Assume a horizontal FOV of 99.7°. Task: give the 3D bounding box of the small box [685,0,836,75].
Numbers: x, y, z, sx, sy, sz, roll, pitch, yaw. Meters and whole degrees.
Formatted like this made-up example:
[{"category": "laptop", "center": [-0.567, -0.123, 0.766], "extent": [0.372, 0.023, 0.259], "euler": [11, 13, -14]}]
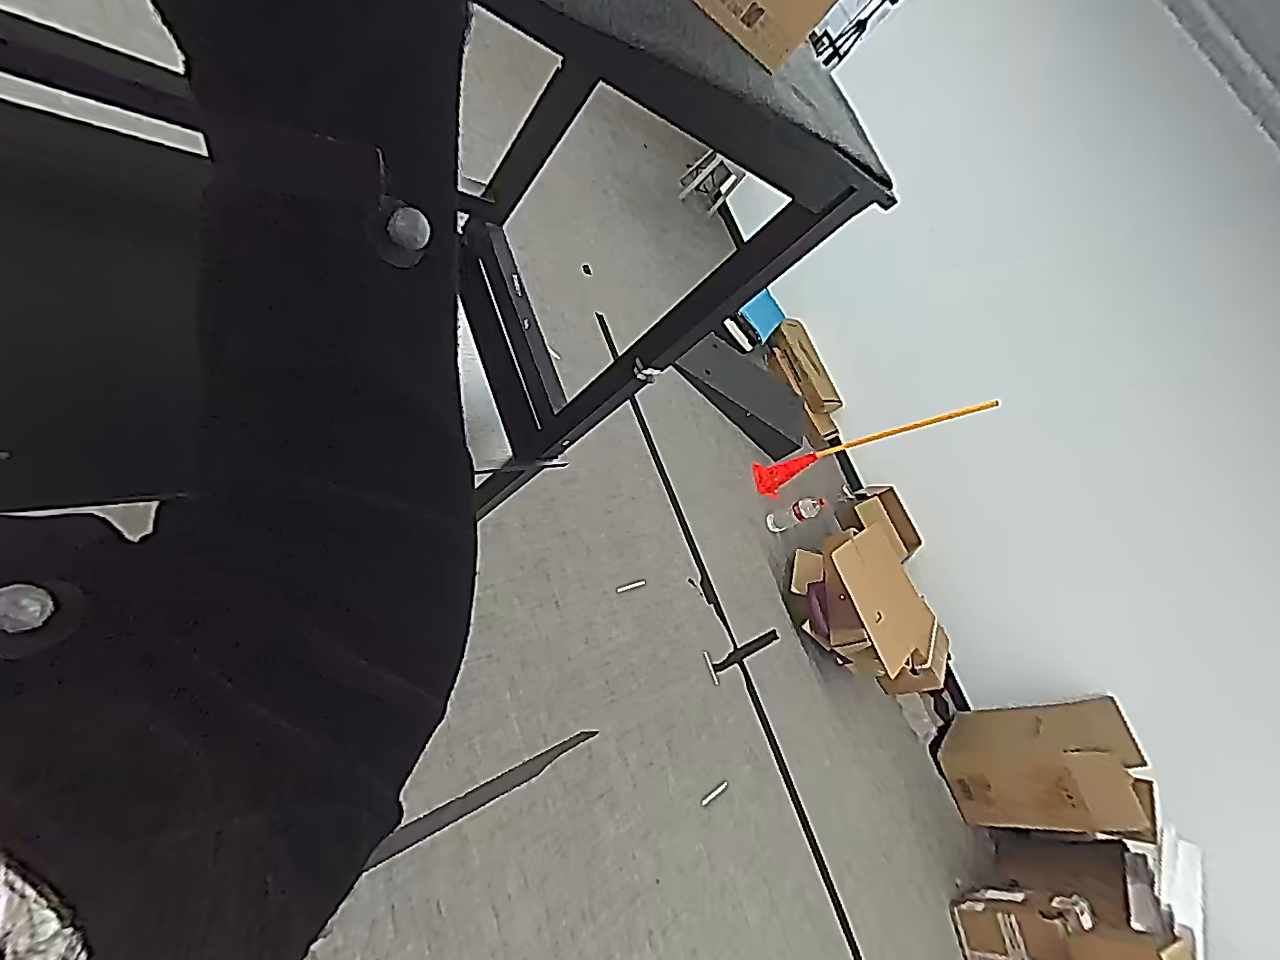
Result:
[{"category": "small box", "center": [0.081, -0.452, 0.388], "extent": [0.168, 0.176, 0.179], "euler": [-4, 68, -46]}]
